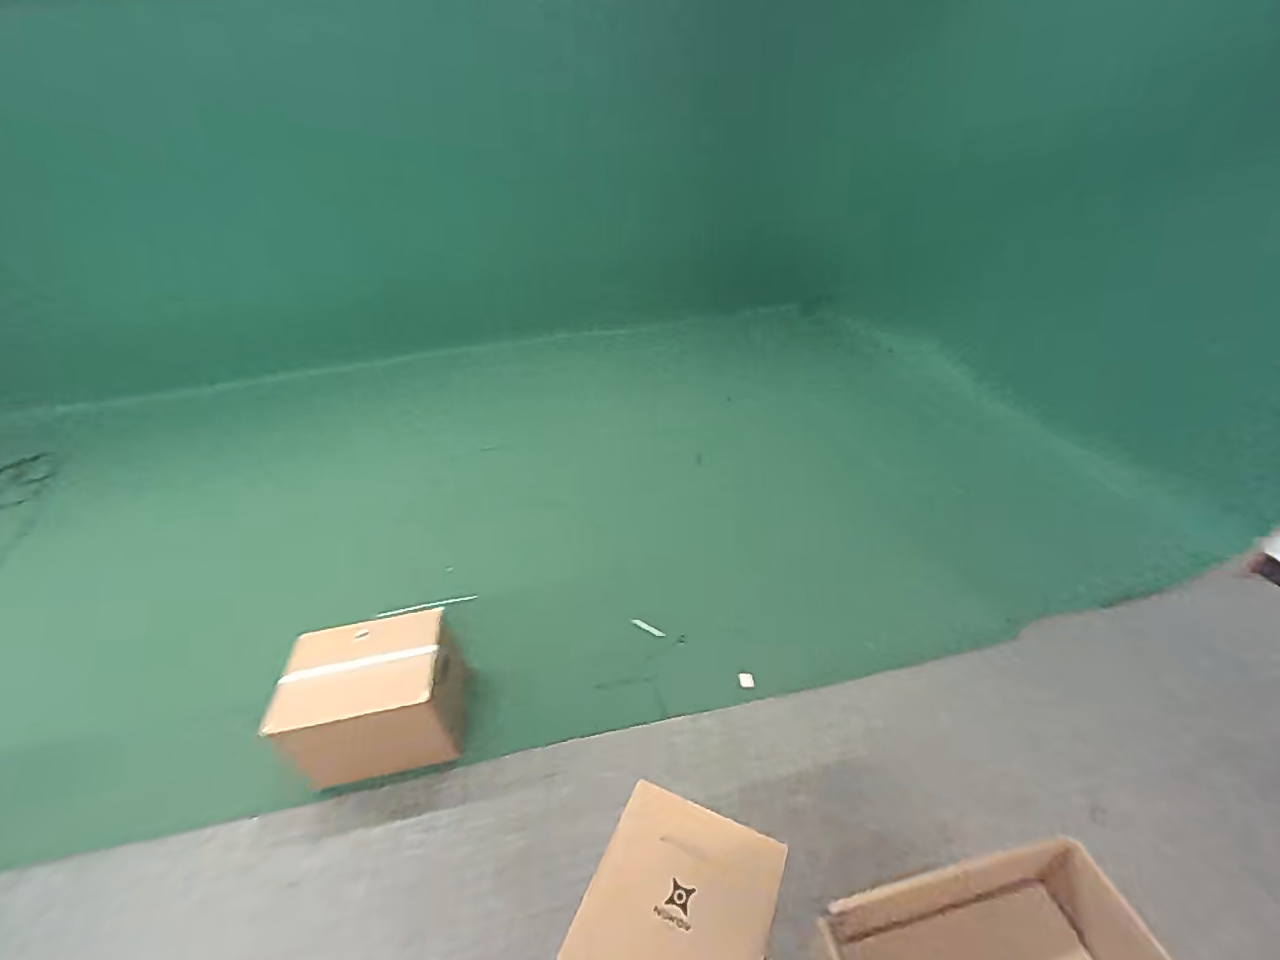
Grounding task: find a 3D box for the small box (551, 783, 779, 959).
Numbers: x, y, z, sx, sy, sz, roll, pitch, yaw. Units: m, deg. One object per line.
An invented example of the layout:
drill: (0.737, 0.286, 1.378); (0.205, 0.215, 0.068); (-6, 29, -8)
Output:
small box: (0.035, 0.457, 0.542); (0.168, 0.176, 0.179); (12, 38, 22)
